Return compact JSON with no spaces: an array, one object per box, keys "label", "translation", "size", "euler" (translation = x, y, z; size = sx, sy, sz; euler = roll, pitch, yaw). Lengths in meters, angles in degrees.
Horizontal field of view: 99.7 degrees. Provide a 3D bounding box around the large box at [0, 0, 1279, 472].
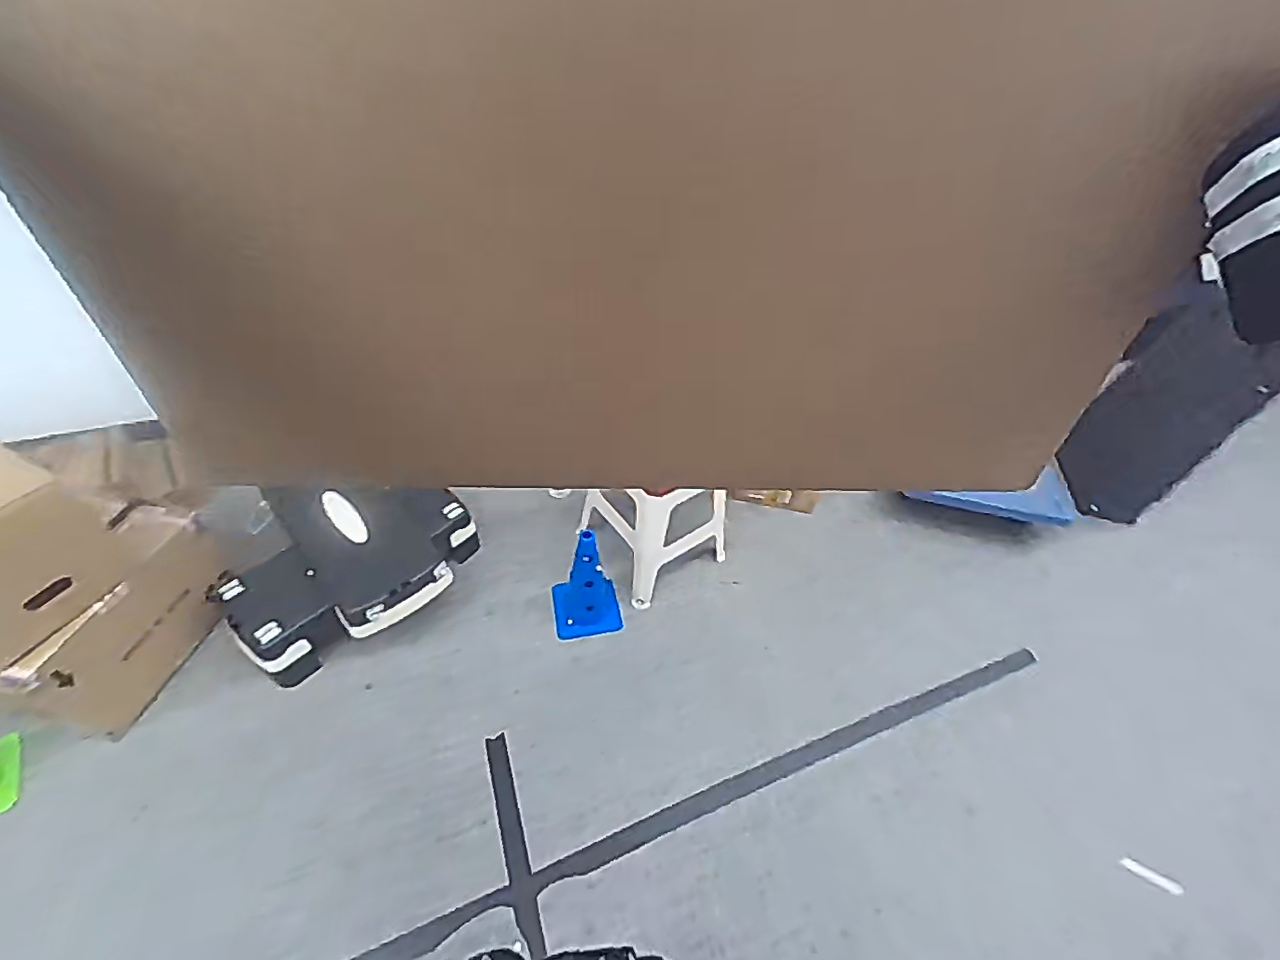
[{"label":"large box","translation":[-0.002,-0.215,0.283],"size":[0.408,0.320,0.320],"euler":[2,42,-2]}]
